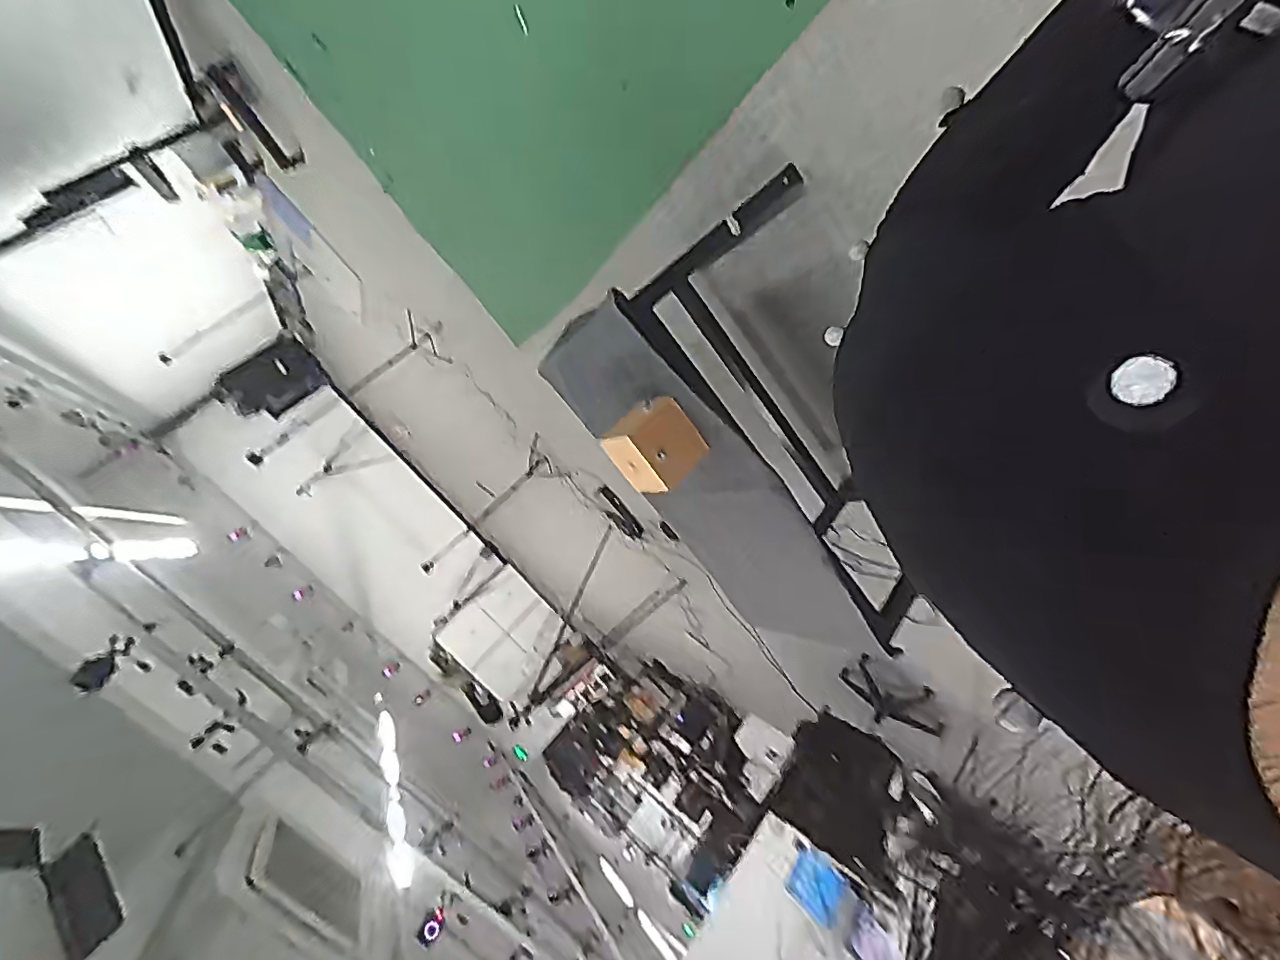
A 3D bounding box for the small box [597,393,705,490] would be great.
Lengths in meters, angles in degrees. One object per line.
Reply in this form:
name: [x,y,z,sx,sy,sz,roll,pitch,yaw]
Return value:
small box: [0.033,-0.093,1.362,0.179,0.176,0.168,52,155,-18]
